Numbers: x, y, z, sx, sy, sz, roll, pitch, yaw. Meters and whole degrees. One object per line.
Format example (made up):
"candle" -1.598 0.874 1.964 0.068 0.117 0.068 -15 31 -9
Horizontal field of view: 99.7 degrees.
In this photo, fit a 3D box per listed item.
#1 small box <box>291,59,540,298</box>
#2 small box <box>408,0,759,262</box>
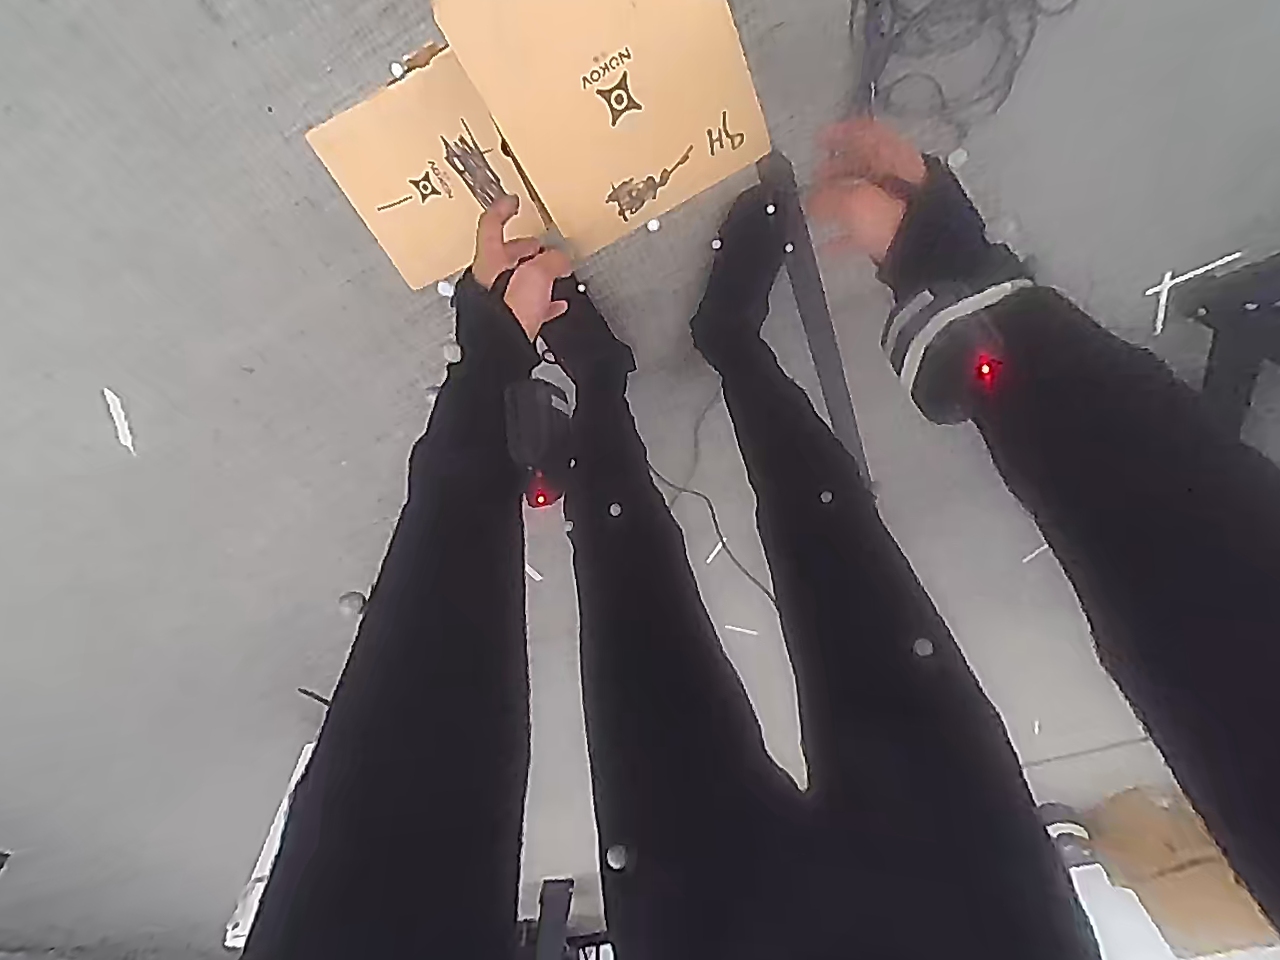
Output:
"small box" -0.217 -0.335 0.586 0.179 0.176 0.168 -18 130 14
"small box" -0.031 -0.304 0.404 0.168 0.176 0.179 -23 128 17
